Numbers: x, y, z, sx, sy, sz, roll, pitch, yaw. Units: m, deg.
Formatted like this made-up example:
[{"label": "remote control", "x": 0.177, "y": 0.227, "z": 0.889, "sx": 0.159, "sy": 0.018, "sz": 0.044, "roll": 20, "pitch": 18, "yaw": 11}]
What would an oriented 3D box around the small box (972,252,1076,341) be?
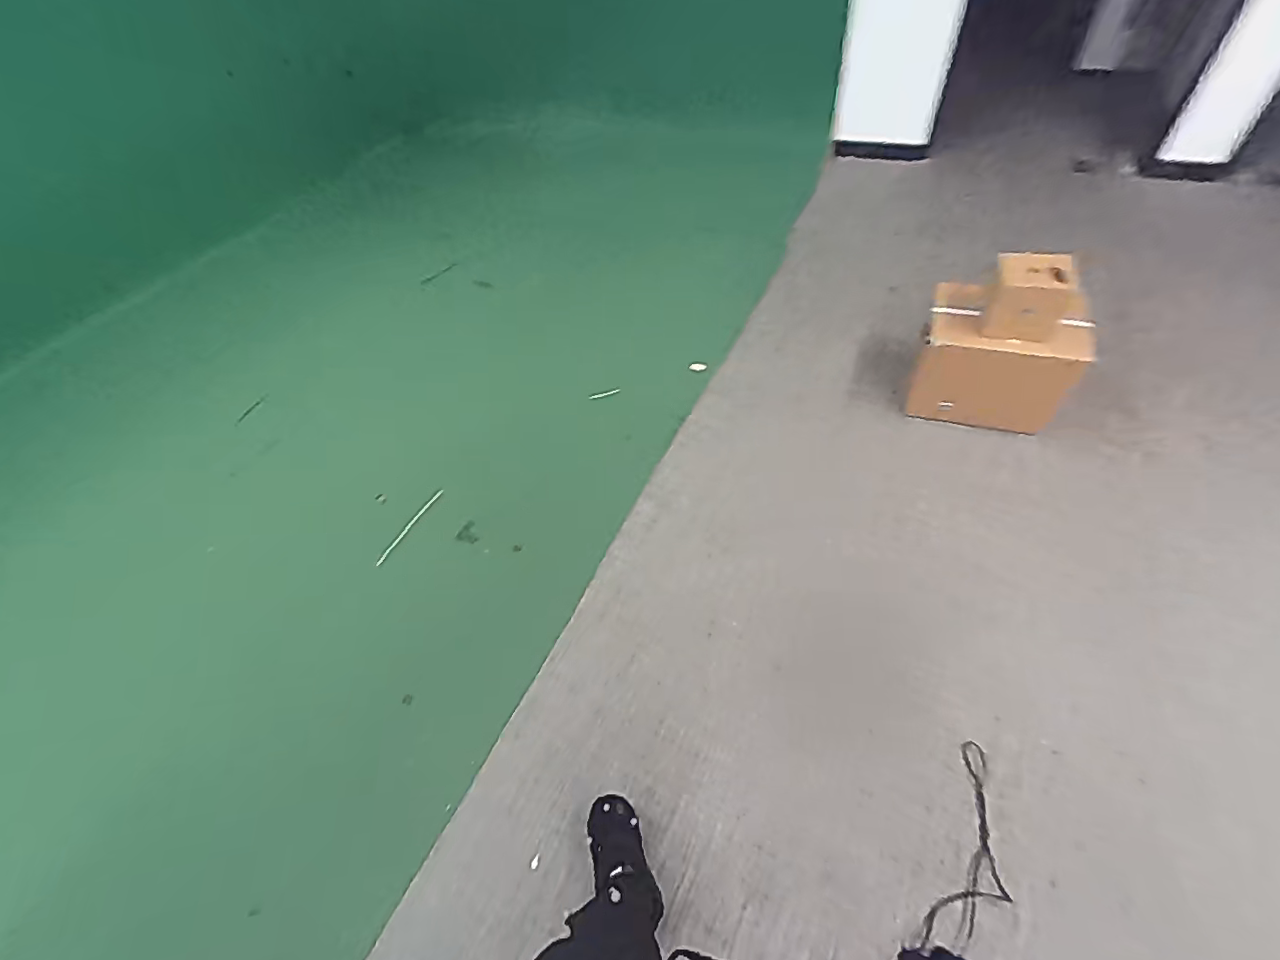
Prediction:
[{"label": "small box", "x": 1.059, "y": -0.508, "z": 1.506, "sx": 0.179, "sy": 0.176, "sz": 0.168, "roll": 8, "pitch": 55, "yaw": 13}]
